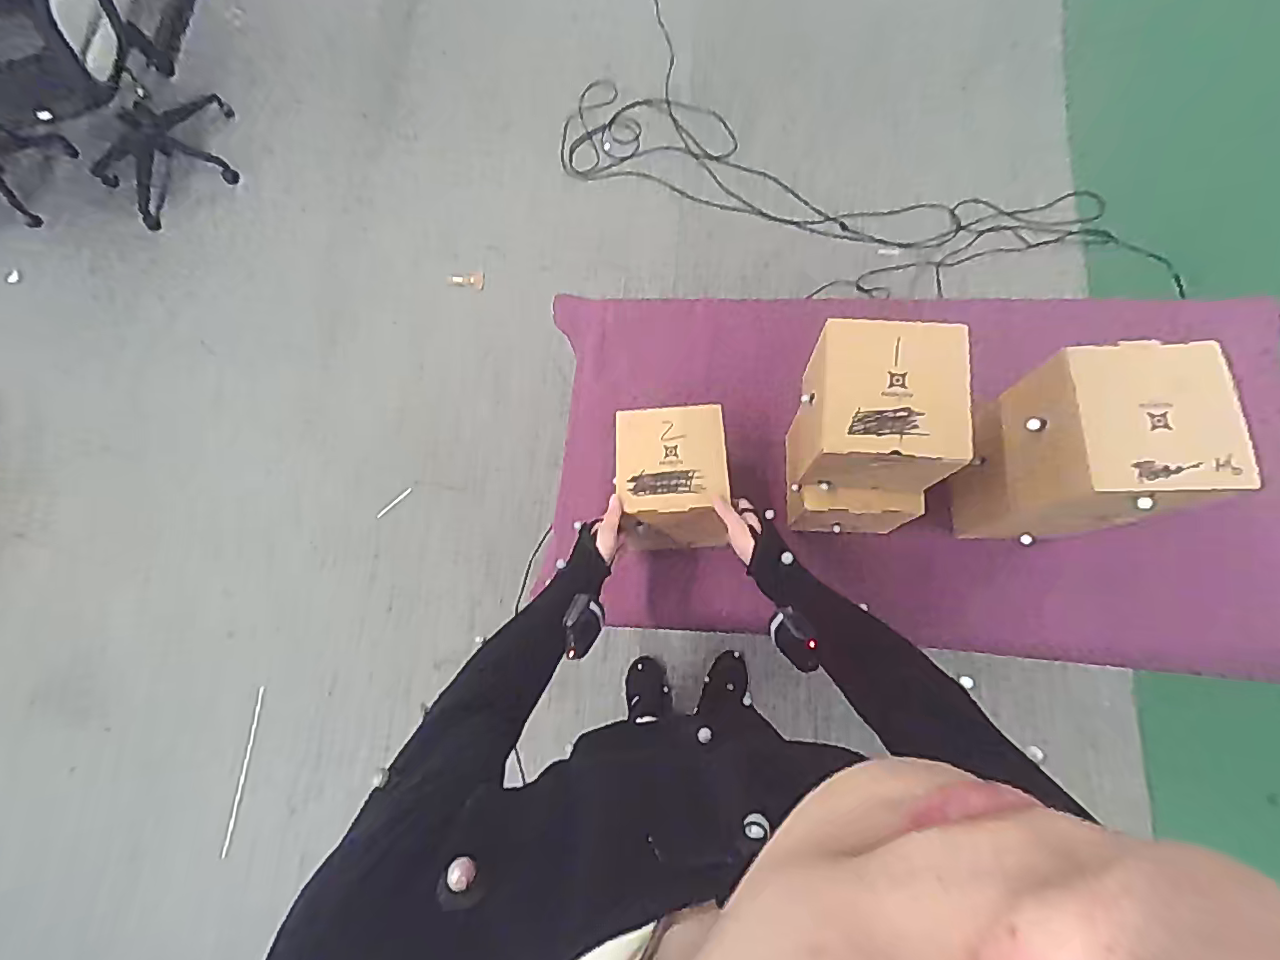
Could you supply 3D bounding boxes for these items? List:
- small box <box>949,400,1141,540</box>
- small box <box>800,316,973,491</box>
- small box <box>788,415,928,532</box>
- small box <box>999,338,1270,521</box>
[{"bbox_3d":[0.594,-0.009,0.821,0.168,0.176,0.179,-1,75,7],"label":"small box"},{"bbox_3d":[0.309,-0.090,0.706,0.168,0.176,0.179,5,75,8],"label":"small box"},{"bbox_3d":[0.331,-0.019,0.856,0.168,0.176,0.179,1,76,6],"label":"small box"},{"bbox_3d":[0.577,-0.052,0.664,0.168,0.176,0.179,-1,74,6],"label":"small box"}]
